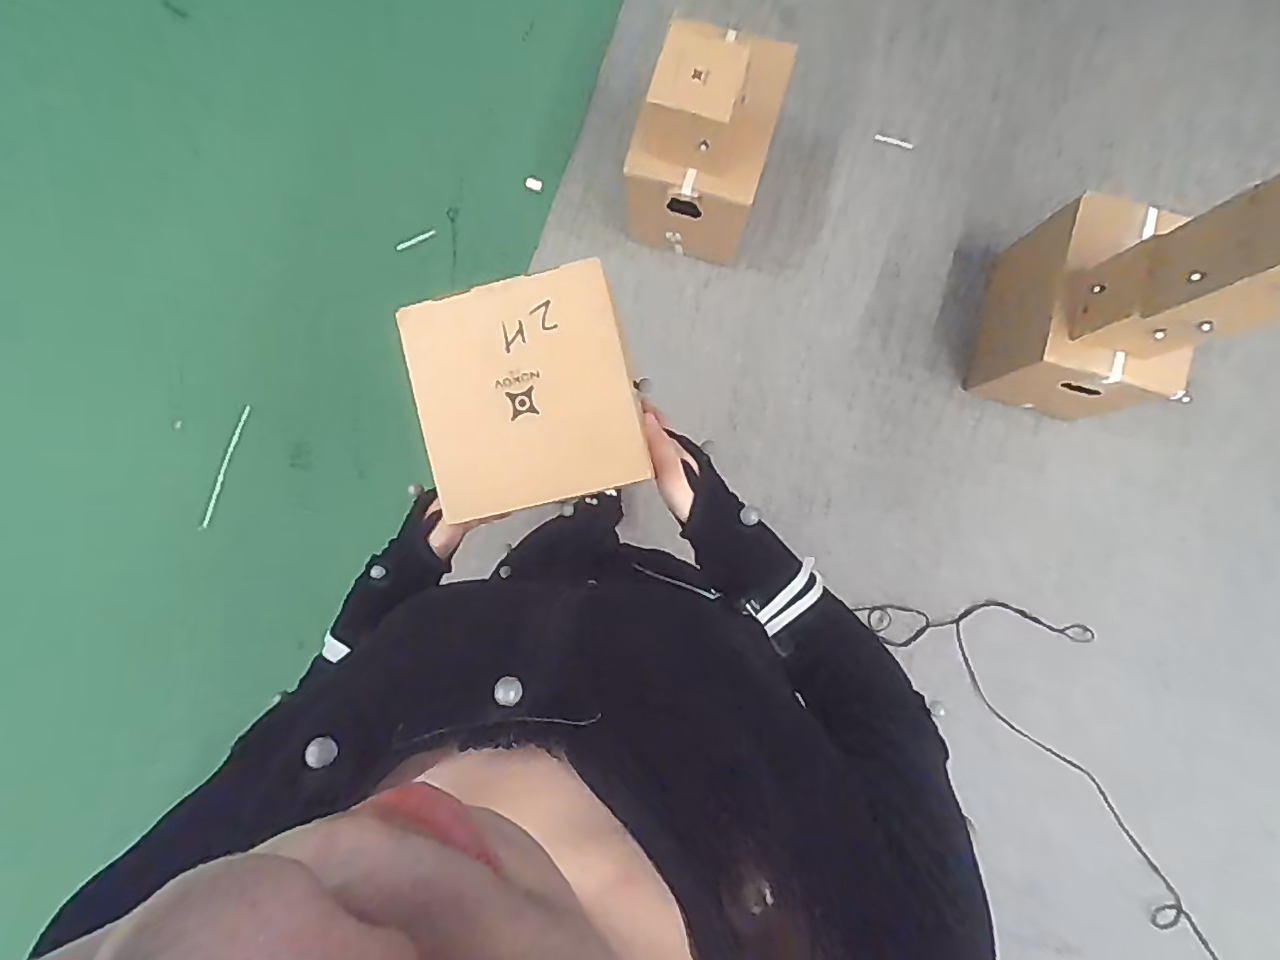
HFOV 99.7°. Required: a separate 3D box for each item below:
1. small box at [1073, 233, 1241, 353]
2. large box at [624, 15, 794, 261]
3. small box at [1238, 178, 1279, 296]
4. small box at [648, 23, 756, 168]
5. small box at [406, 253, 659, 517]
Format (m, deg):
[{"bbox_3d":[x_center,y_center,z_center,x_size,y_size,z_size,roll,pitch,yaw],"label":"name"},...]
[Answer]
[{"bbox_3d":[1.053,-0.373,1.110,0.179,0.176,0.168,14,88,3],"label":"small box"},{"bbox_3d":[0.165,-0.851,1.396,0.320,0.320,0.408,16,87,2],"label":"large box"},{"bbox_3d":[1.045,-0.375,0.780,0.168,0.176,0.179,18,90,3],"label":"small box"},{"bbox_3d":[0.126,-0.803,1.148,0.179,0.176,0.168,19,87,4],"label":"small box"},{"bbox_3d":[-0.080,-0.075,0.494,0.168,0.176,0.179,-12,91,4],"label":"small box"}]
